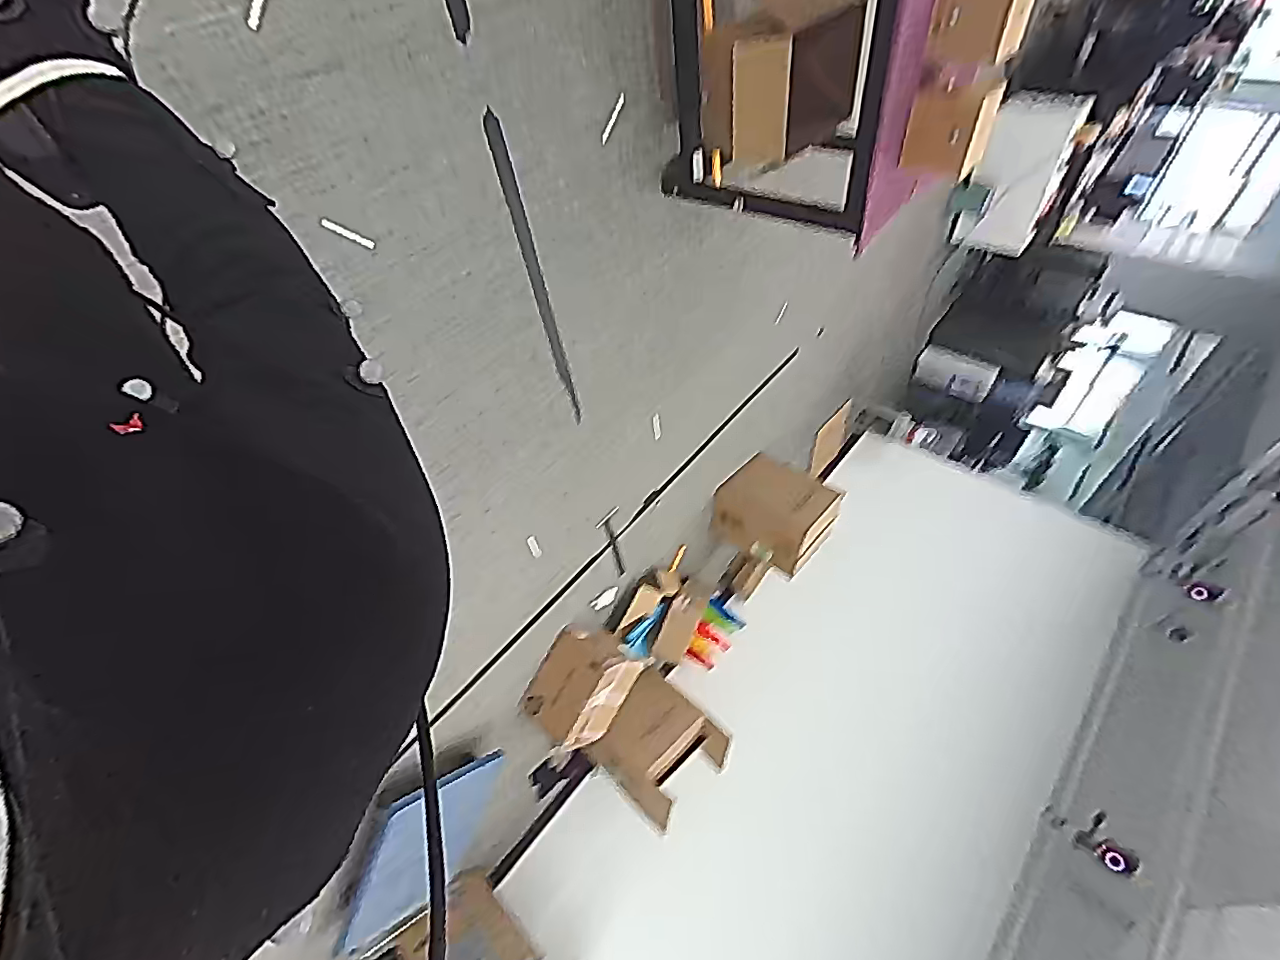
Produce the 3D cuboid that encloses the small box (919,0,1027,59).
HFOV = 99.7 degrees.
[{"bbox_3d":[0.775,-1.091,1.240,0.179,0.176,0.168,-43,146,-27],"label":"small box"}]

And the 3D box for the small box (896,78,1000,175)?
[{"bbox_3d":[0.799,-0.932,1.421,0.168,0.176,0.179,-42,146,-30],"label":"small box"}]
